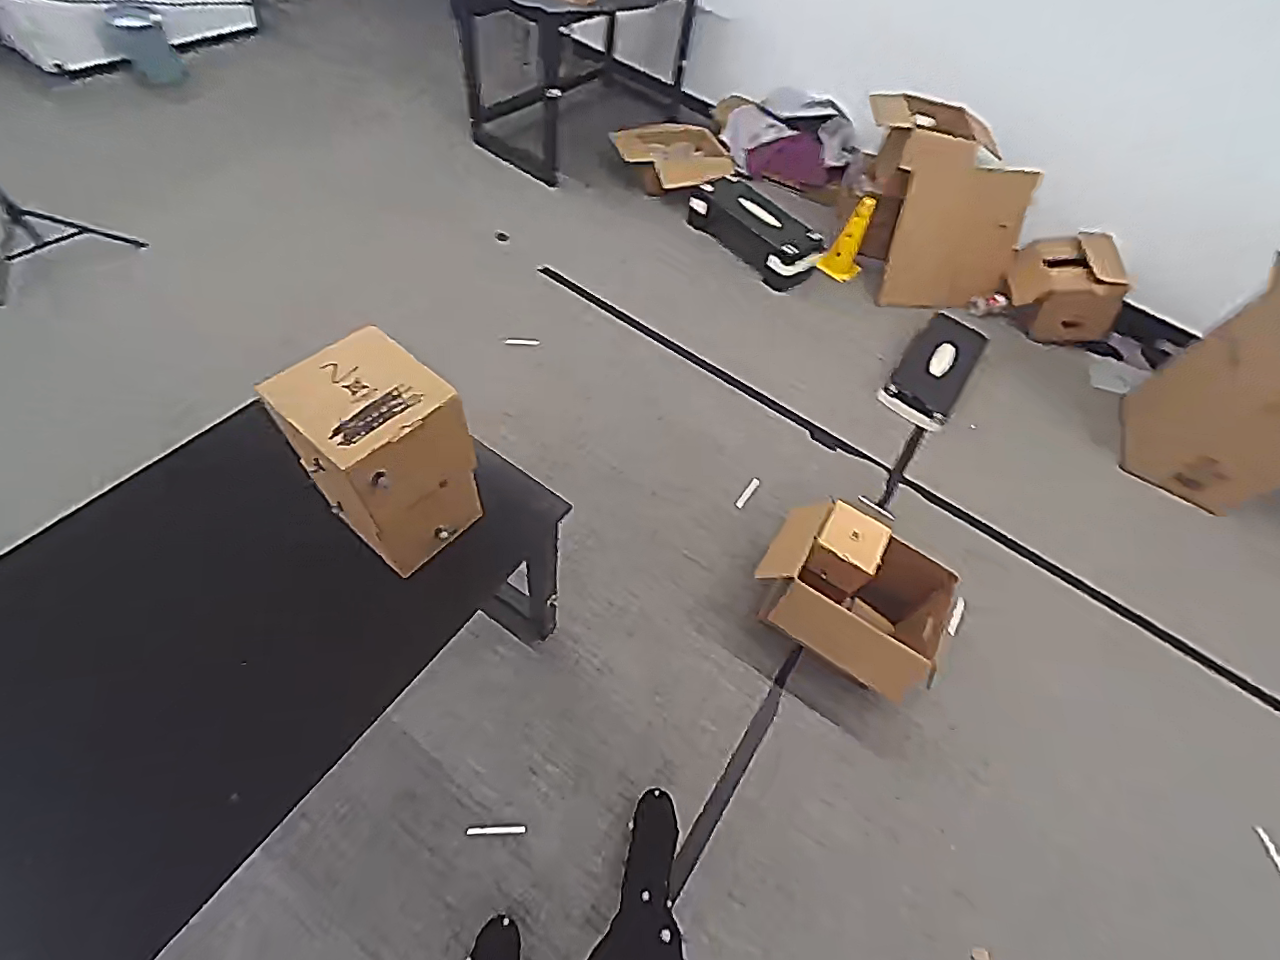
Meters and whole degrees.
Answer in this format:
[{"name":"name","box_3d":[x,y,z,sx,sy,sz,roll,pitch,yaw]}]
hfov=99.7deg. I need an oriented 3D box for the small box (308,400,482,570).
[{"name":"small box","box_3d":[-0.377,0.013,0.863,0.179,0.176,0.168,38,61,15]}]
